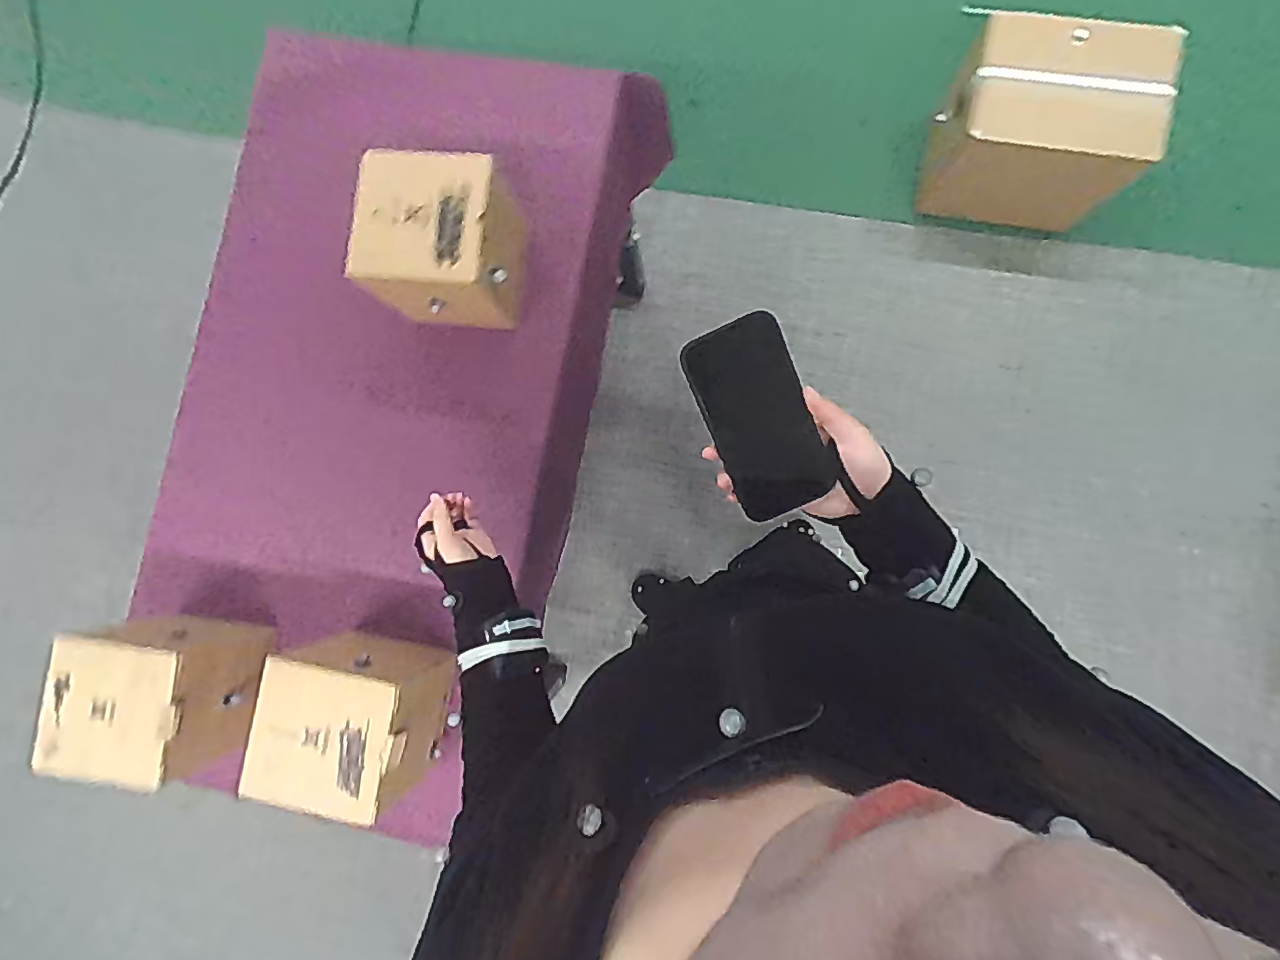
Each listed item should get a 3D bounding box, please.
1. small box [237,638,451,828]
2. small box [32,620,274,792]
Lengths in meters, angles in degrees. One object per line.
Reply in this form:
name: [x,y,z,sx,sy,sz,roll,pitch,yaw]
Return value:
small box: [-0.377,0.319,0.721,0.179,0.176,0.168,9,86,7]
small box: [-0.653,0.297,0.748,0.179,0.176,0.168,6,85,5]
